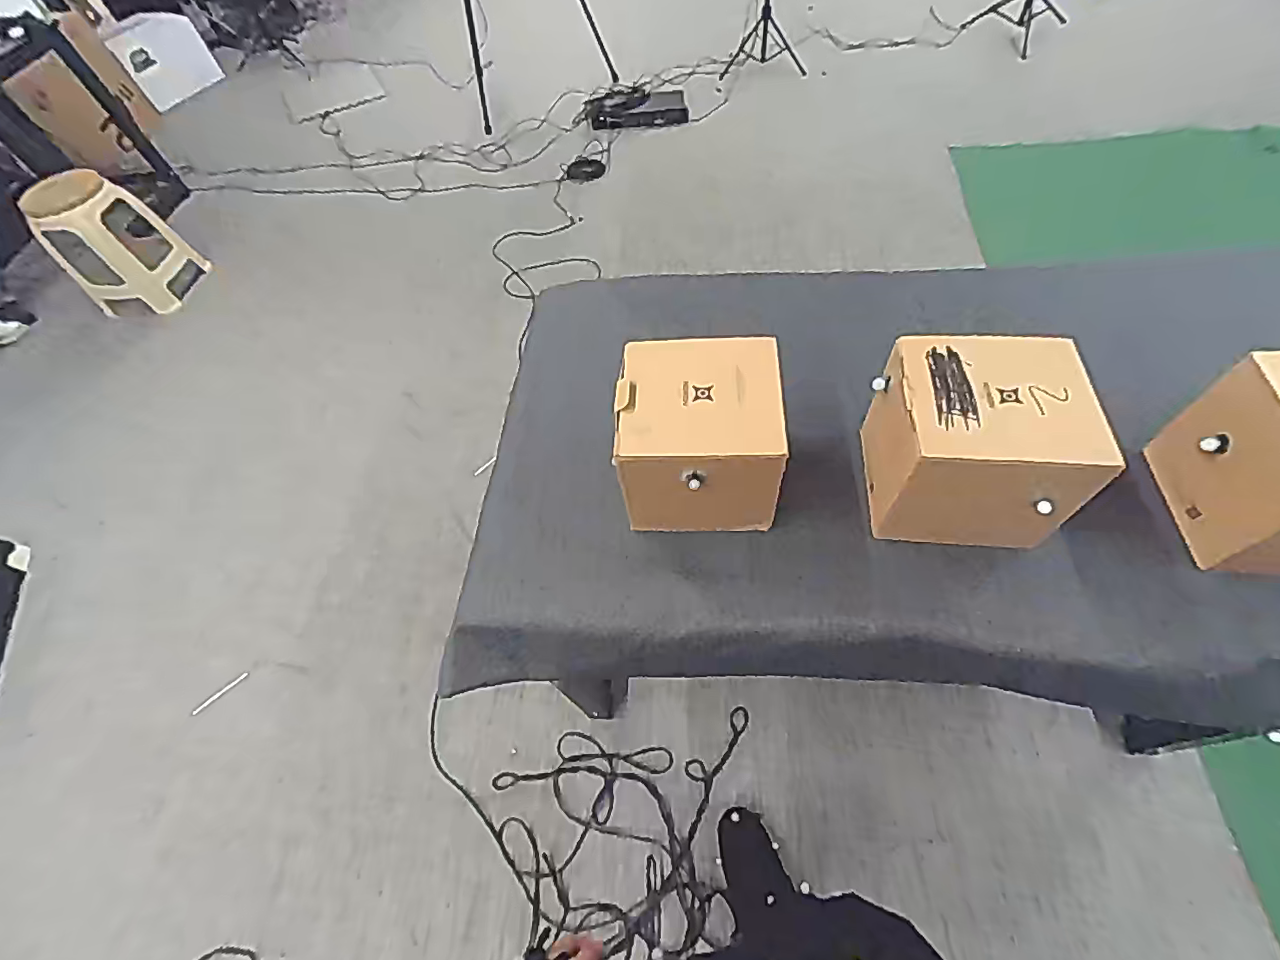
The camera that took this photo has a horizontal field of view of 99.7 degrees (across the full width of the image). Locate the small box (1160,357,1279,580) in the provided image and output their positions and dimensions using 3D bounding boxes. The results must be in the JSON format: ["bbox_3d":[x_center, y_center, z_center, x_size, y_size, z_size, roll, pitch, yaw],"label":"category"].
[{"bbox_3d":[0.682,-0.004,0.538,0.179,0.176,0.168,2,57,9],"label":"small box"}]

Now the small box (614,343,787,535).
[{"bbox_3d":[0.073,-0.043,0.645,0.179,0.176,0.168,1,58,7],"label":"small box"}]
